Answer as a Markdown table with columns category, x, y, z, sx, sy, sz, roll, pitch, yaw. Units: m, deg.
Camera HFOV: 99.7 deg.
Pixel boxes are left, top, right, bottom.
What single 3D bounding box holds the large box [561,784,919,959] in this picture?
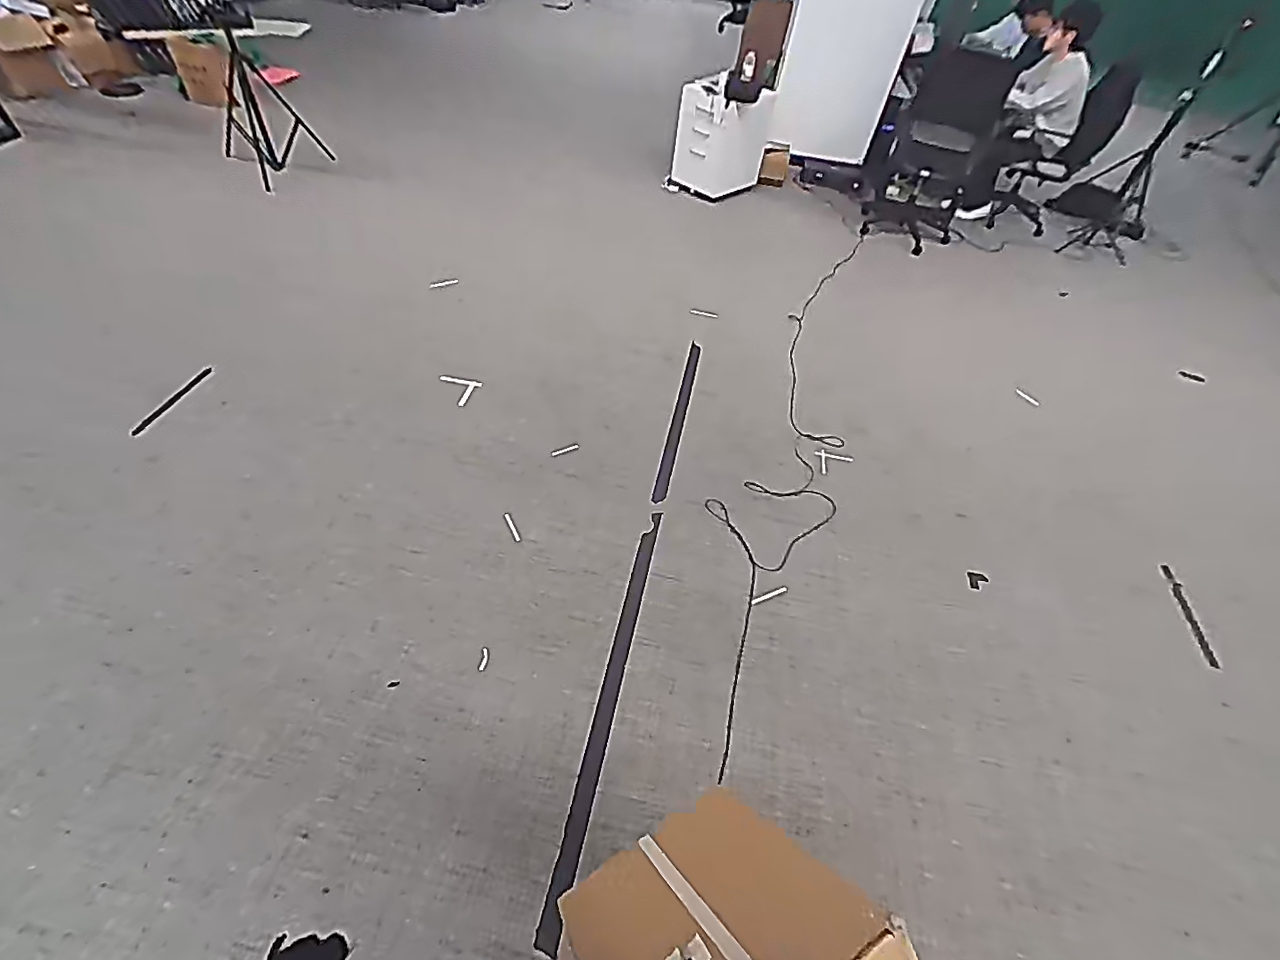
| category | x | y | z | sx | sy | sz | roll | pitch | yaw |
| --- | --- | --- | --- | --- | --- | --- | --- | --- | --- |
| large box | 0.136 | 0.685 | 0.695 | 0.320 | 0.408 | 0.320 | -24 | 91 | -22 |
